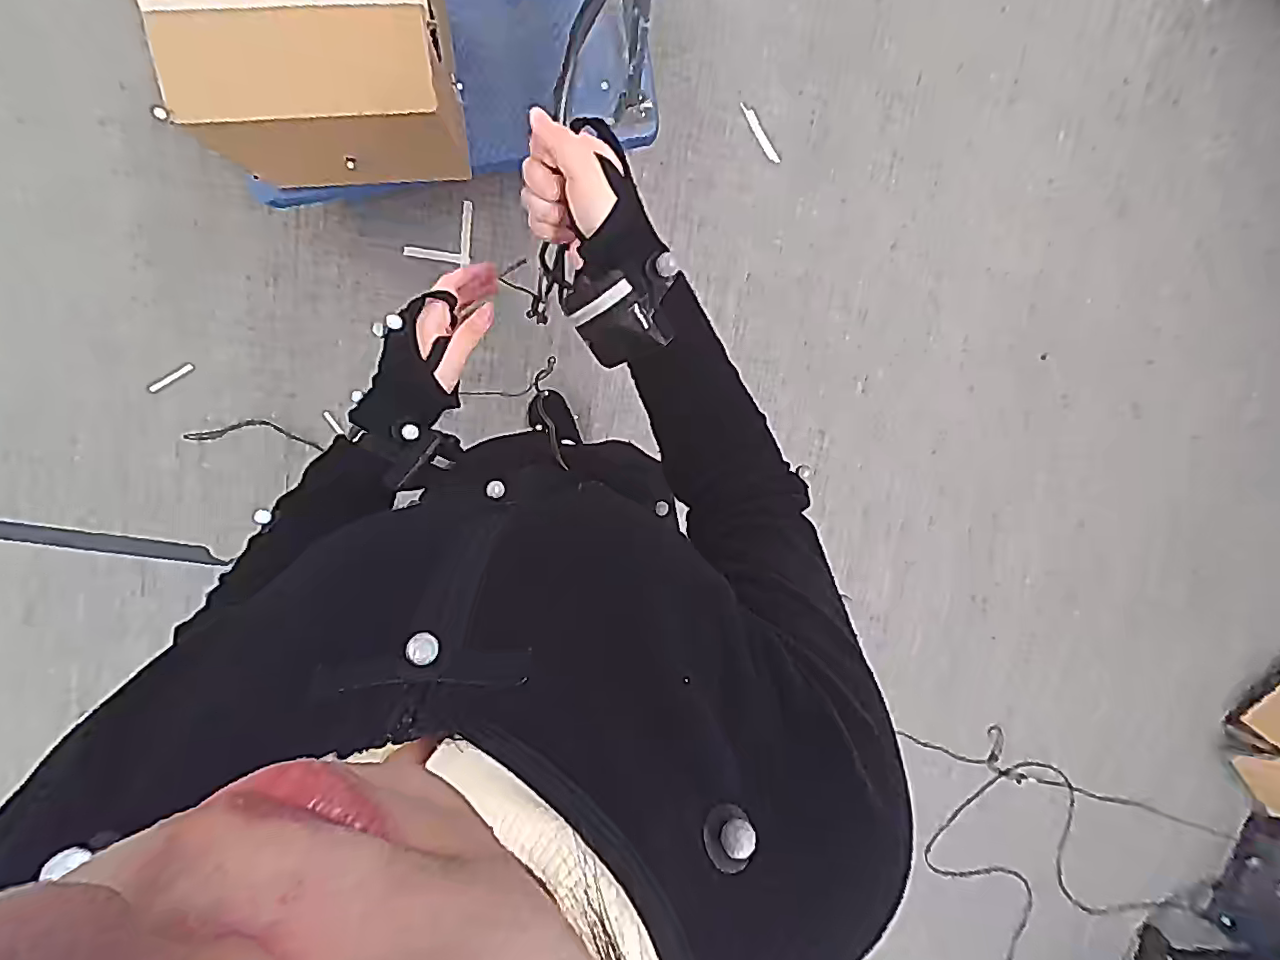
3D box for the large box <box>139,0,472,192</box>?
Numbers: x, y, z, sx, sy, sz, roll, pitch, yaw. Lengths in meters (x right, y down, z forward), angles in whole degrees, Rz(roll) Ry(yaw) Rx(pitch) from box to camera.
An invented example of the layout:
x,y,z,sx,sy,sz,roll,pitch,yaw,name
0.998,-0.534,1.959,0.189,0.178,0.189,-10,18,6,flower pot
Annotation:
x,y,z,sx,sy,sz,roll,pitch,yaw,name
-0.550,-0.733,0.957,0.408,0.320,0.320,-6,101,-5,large box
